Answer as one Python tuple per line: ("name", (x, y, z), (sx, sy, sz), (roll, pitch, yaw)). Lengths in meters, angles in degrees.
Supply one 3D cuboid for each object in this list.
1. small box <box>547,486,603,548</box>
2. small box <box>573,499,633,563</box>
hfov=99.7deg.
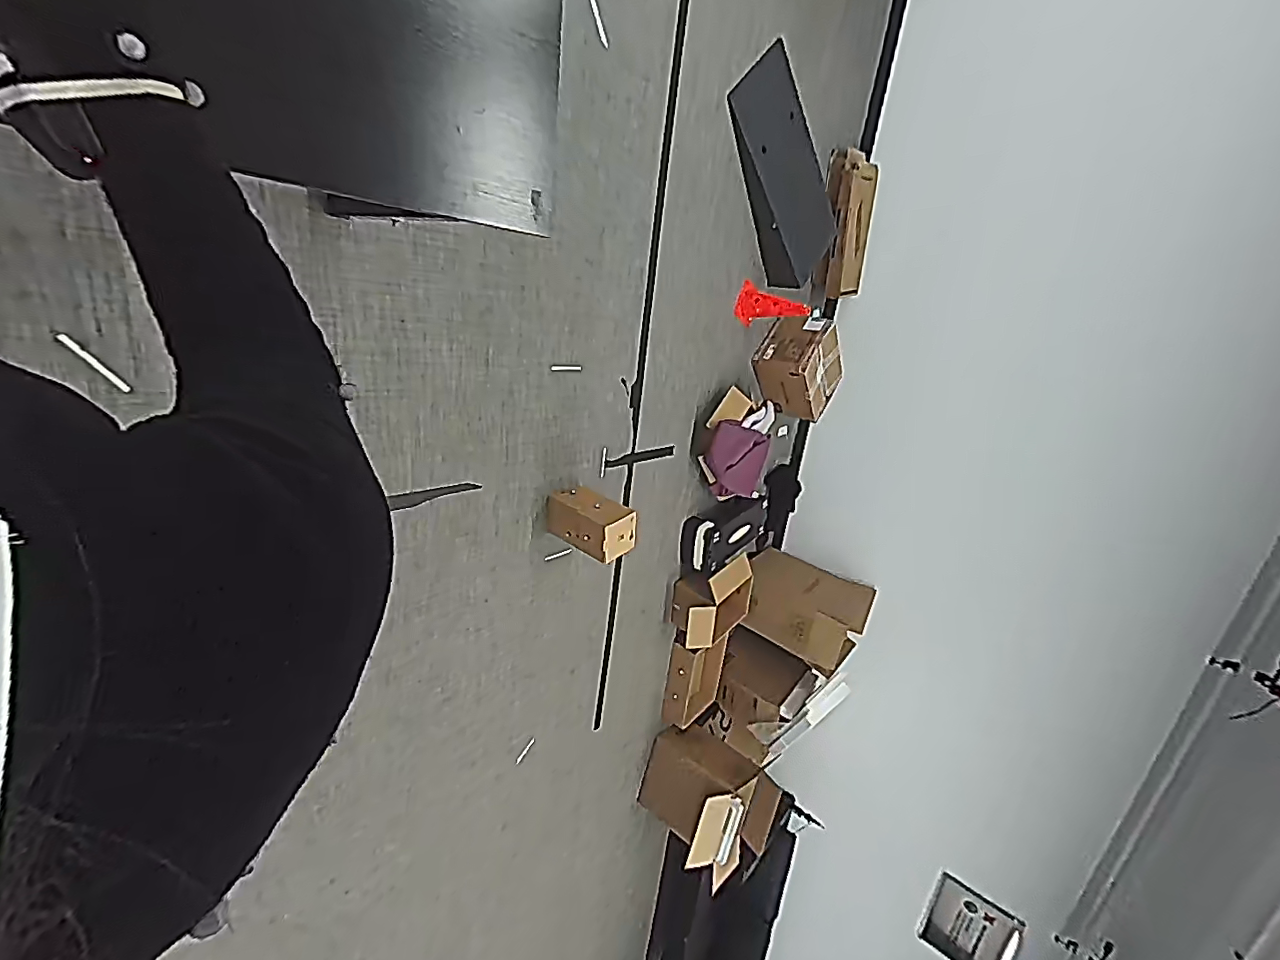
("small box", (-0.266, 0.146, 2.205), (0.168, 0.176, 0.179), (-23, 125, -46))
("small box", (-0.146, 0.194, 2.105), (0.179, 0.176, 0.168), (-23, 125, -45))
